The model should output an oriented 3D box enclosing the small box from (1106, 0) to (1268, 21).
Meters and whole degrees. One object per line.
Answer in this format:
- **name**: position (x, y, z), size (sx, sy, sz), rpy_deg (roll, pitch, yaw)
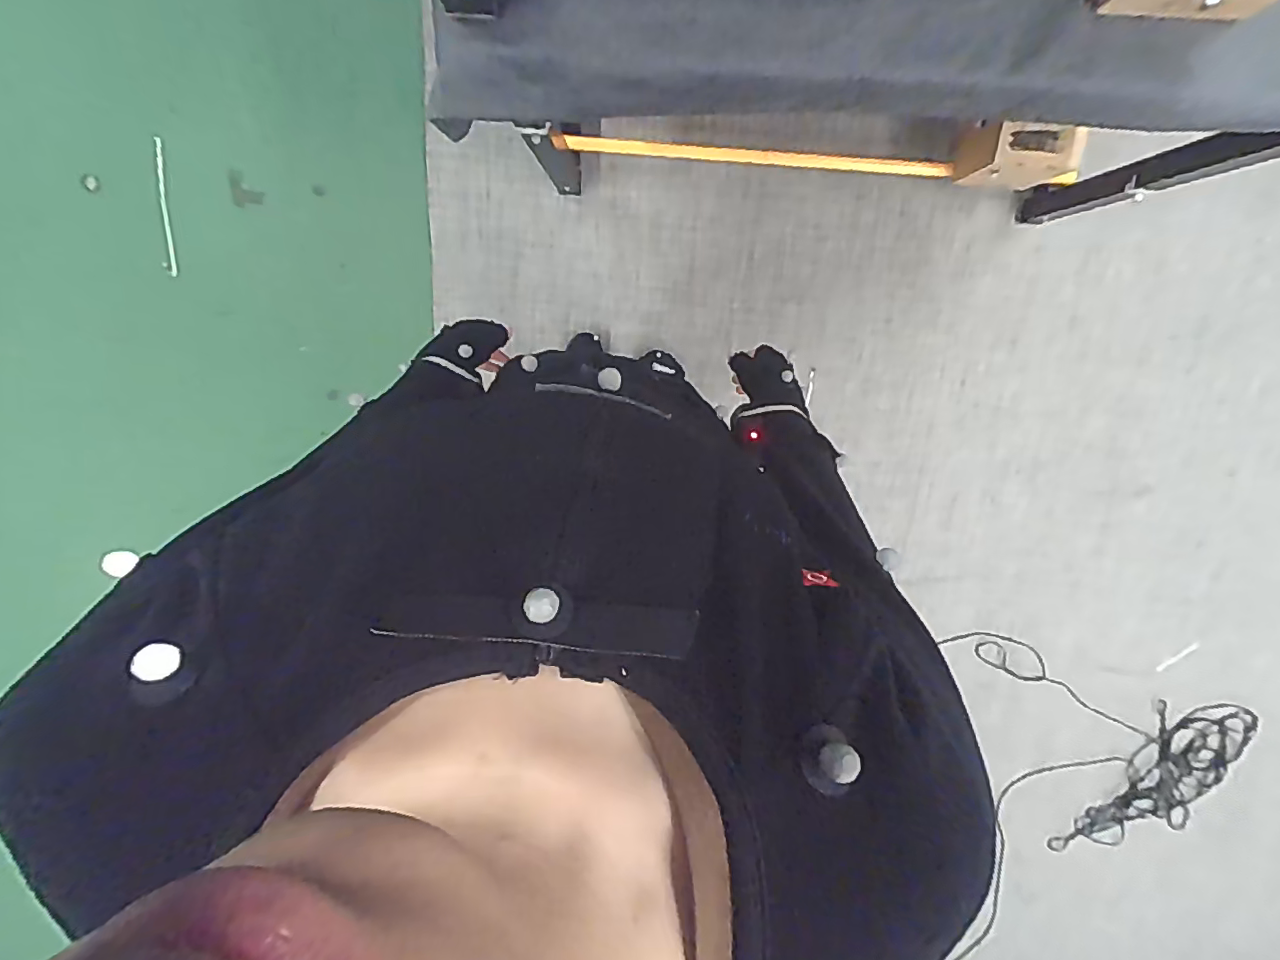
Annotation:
- **small box**: position (0.584, -0.577, 0.497), size (0.168, 0.176, 0.179), rpy_deg (3, 104, 1)
